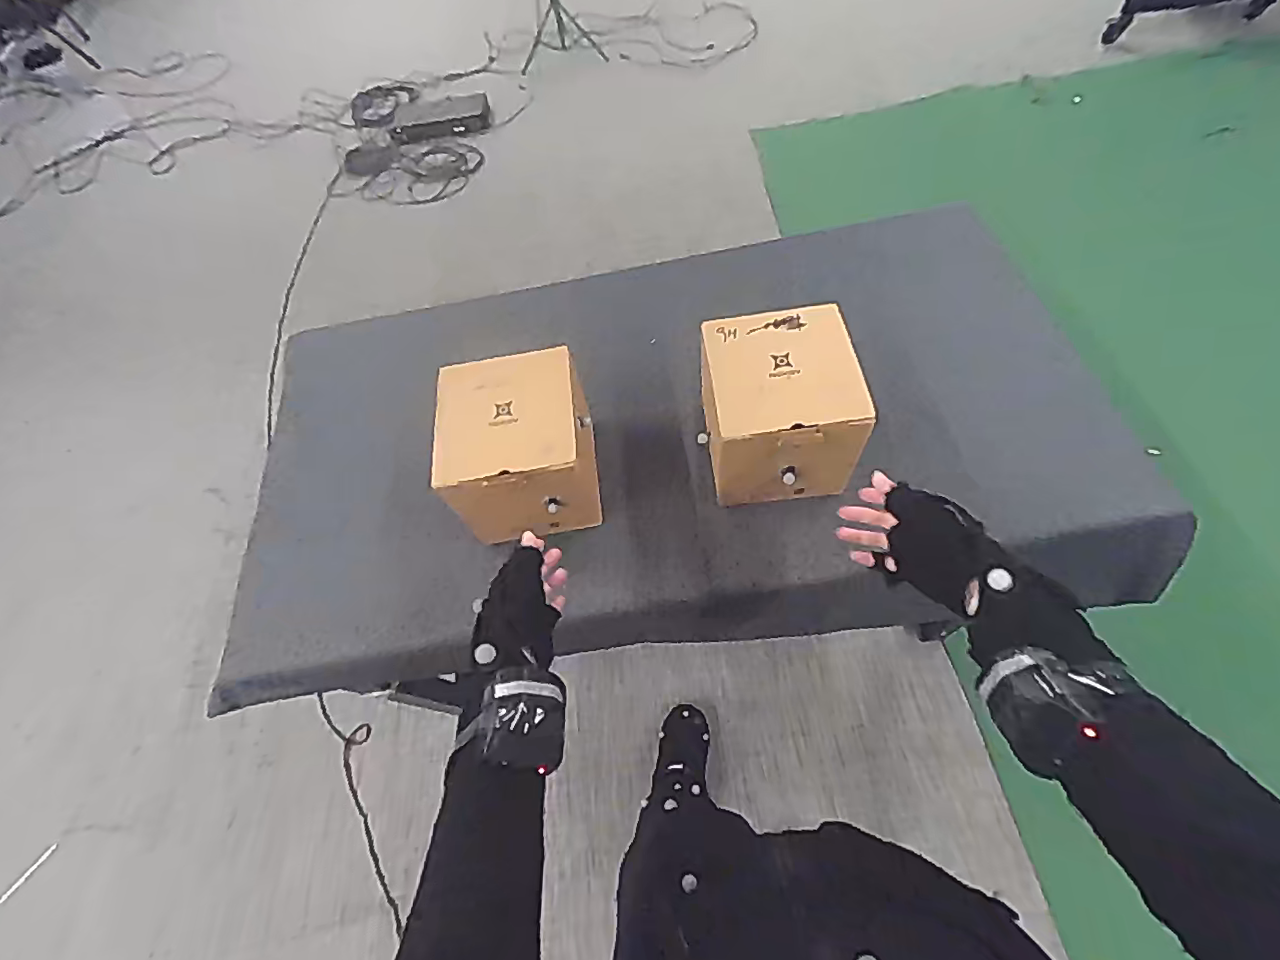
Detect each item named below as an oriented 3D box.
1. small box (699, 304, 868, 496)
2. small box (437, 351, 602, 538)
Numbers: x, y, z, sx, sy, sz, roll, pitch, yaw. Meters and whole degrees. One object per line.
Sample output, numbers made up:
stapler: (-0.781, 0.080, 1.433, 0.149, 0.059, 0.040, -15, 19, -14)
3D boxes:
small box: (0.170, -0.089, 0.690, 0.168, 0.176, 0.179, -8, 62, 5)
small box: (-0.149, -0.036, 0.711, 0.168, 0.176, 0.179, -11, 60, 1)
